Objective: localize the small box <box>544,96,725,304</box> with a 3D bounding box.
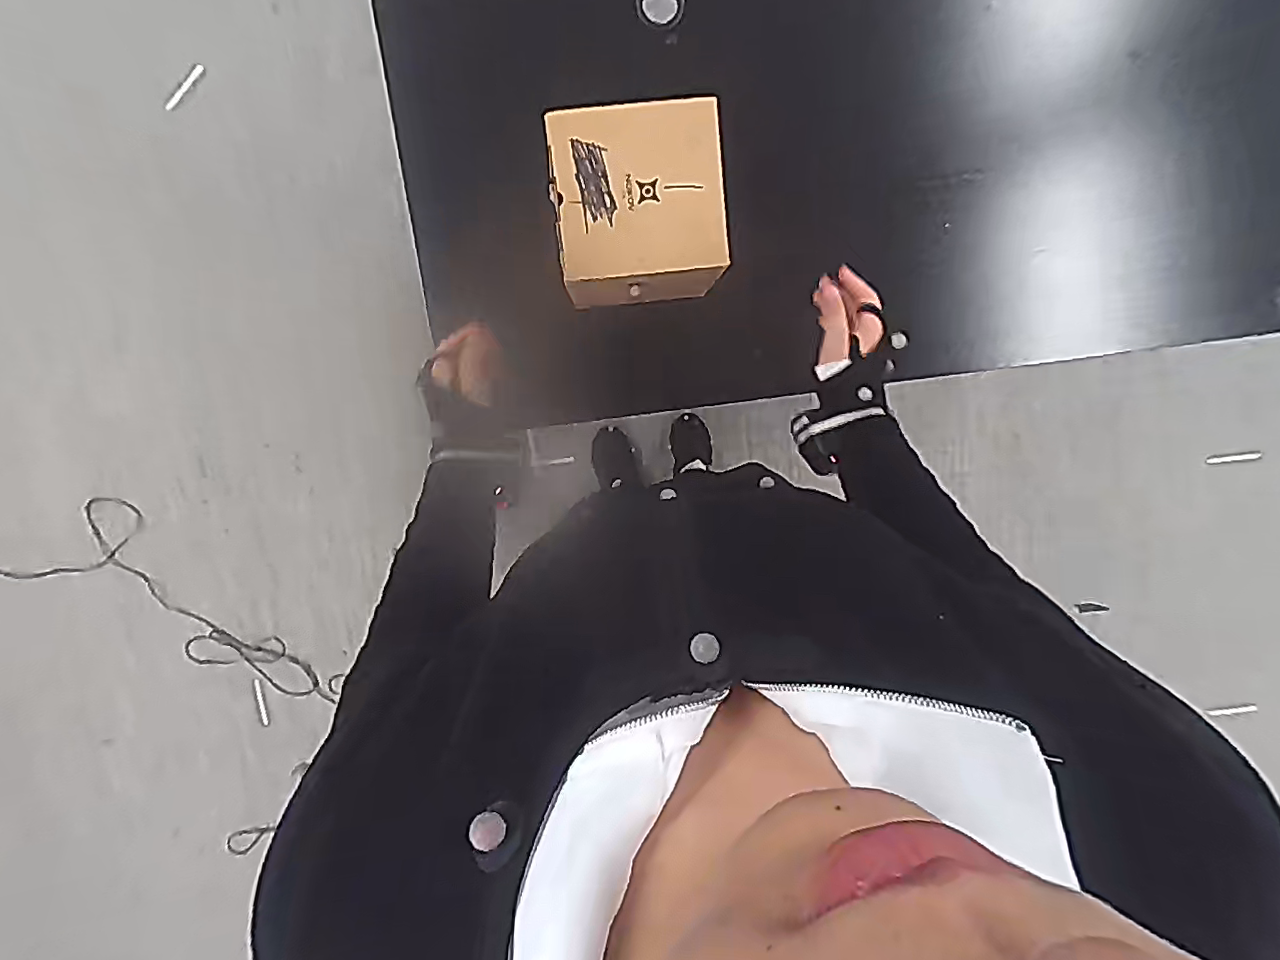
[{"bbox_3d":[-0.006,-0.311,0.635,0.179,0.176,0.168,-6,99,-2],"label":"small box"}]
